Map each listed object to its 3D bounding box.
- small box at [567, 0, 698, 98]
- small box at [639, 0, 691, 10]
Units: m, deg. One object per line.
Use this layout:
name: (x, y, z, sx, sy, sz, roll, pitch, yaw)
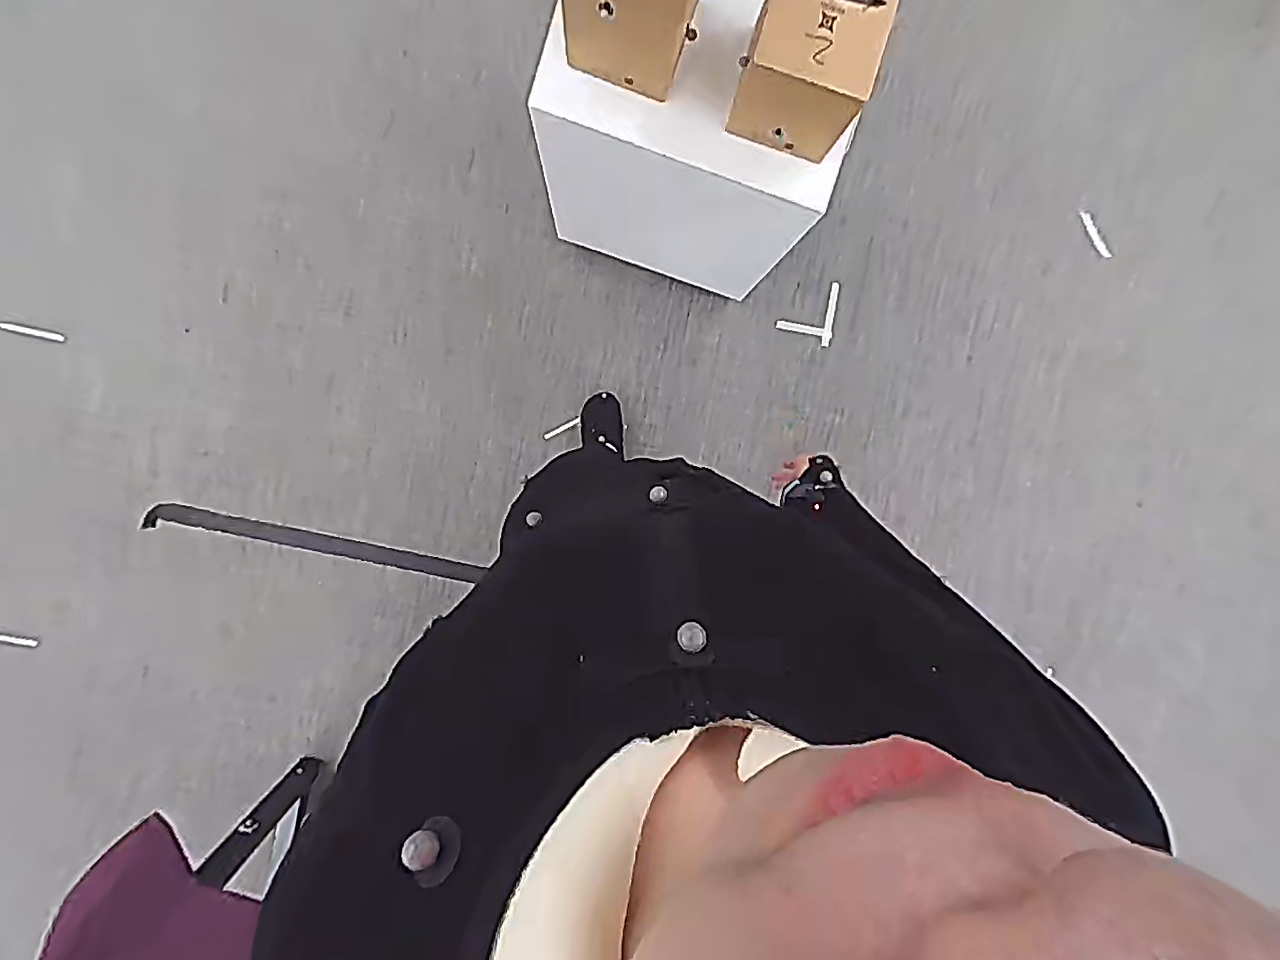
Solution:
small box: (-0.004, -0.699, 0.761, 0.168, 0.176, 0.179, 18, 92, -5)
small box: (0.005, -0.683, 0.597, 0.179, 0.176, 0.168, 18, 94, -5)
